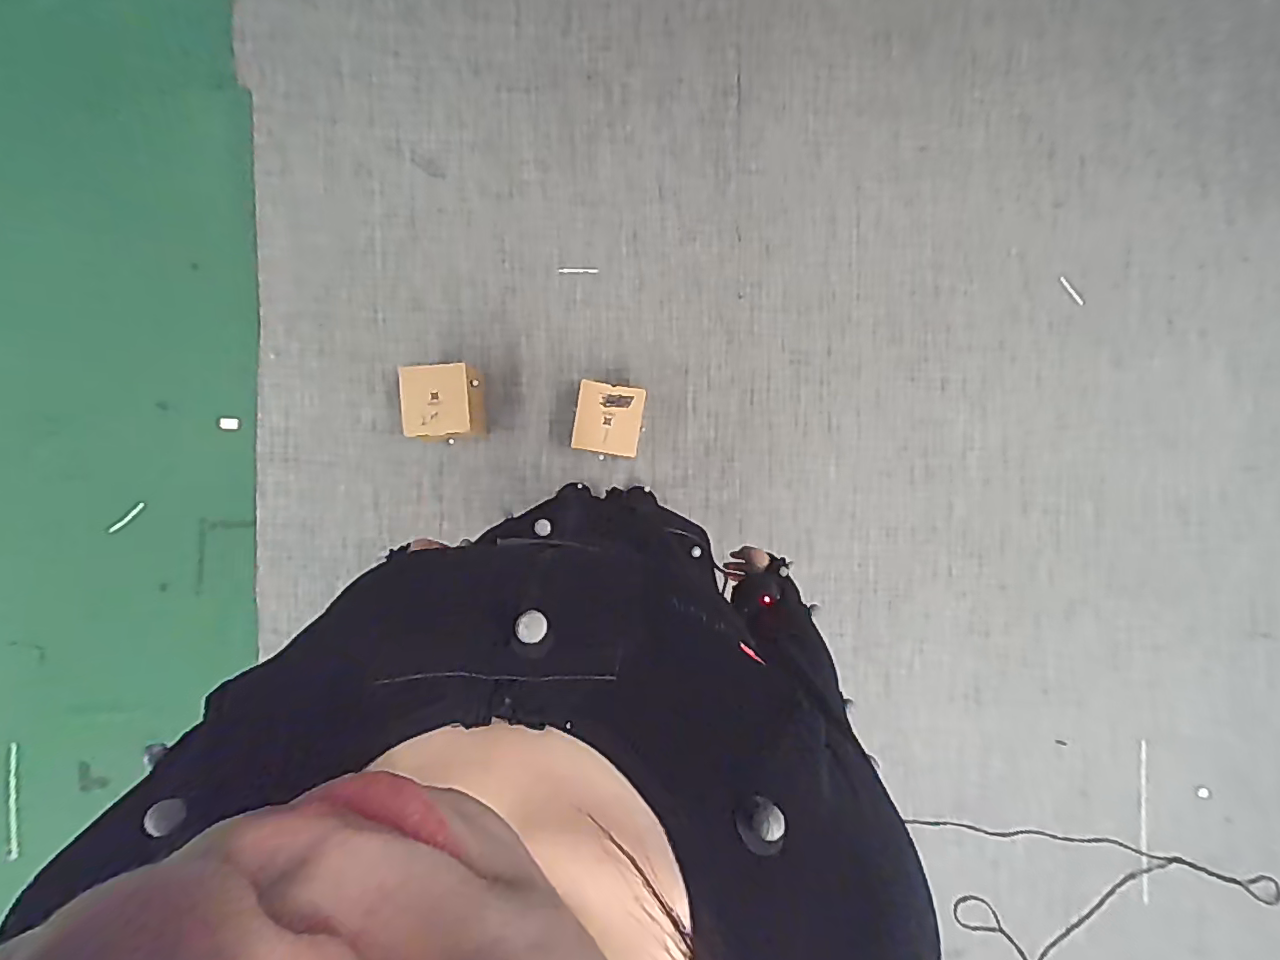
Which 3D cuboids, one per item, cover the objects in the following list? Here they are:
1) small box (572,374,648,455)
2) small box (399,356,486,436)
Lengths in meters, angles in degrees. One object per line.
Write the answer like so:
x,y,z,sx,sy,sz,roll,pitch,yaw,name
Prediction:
-0.079,-0.165,1.414,0.168,0.176,0.179,10,91,-2,small box
-0.504,-0.211,1.397,0.168,0.176,0.179,-4,91,-2,small box
